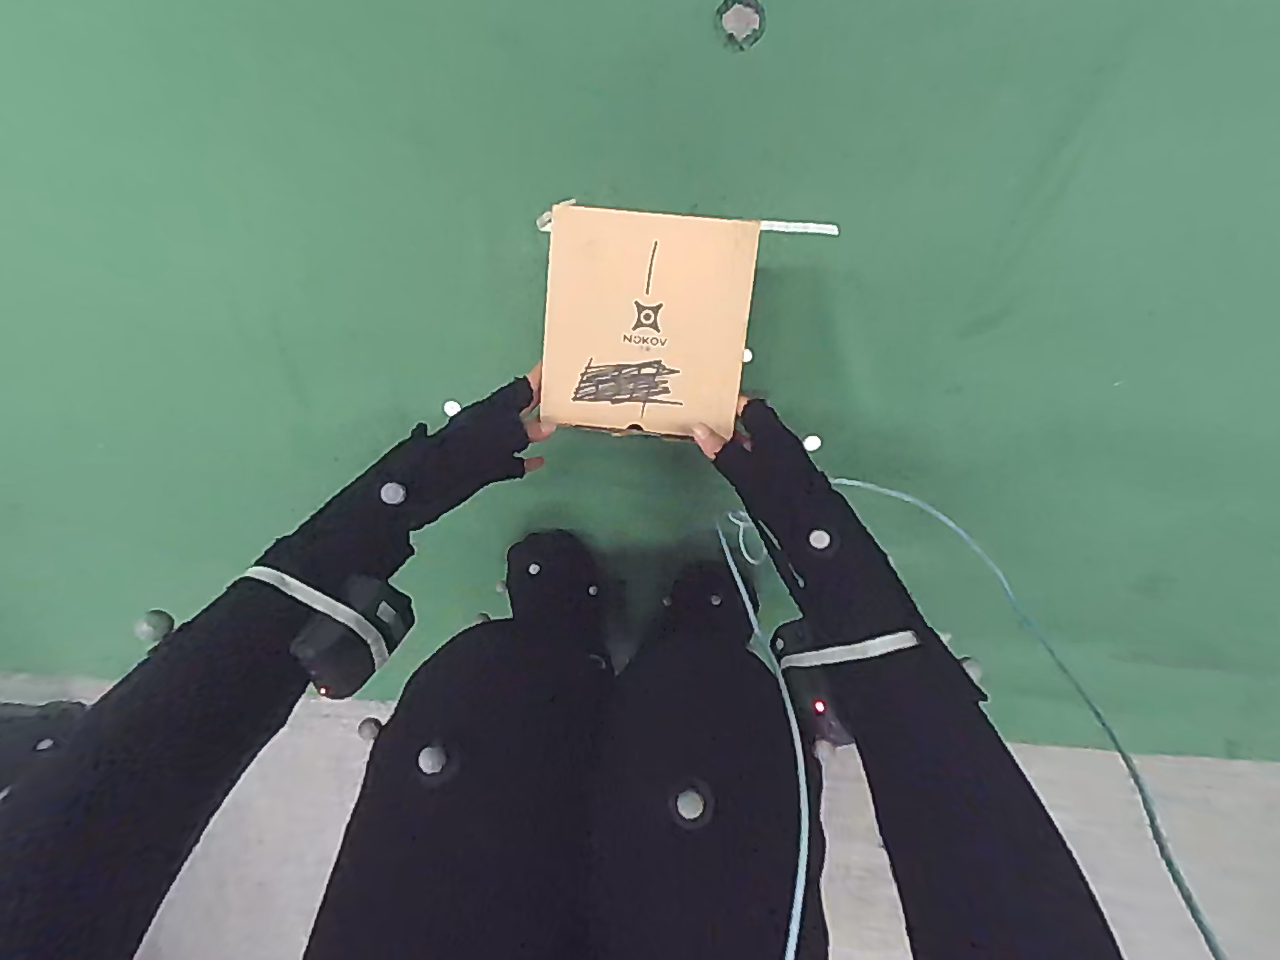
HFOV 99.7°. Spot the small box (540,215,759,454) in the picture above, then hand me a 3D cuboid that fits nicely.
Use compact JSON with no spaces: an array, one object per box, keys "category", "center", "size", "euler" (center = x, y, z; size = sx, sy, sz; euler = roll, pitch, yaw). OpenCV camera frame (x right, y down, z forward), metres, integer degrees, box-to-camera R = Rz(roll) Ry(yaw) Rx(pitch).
[{"category":"small box","center":[0.010,-0.130,0.517],"size":[0.168,0.176,0.179],"euler":[6,100,2]}]
